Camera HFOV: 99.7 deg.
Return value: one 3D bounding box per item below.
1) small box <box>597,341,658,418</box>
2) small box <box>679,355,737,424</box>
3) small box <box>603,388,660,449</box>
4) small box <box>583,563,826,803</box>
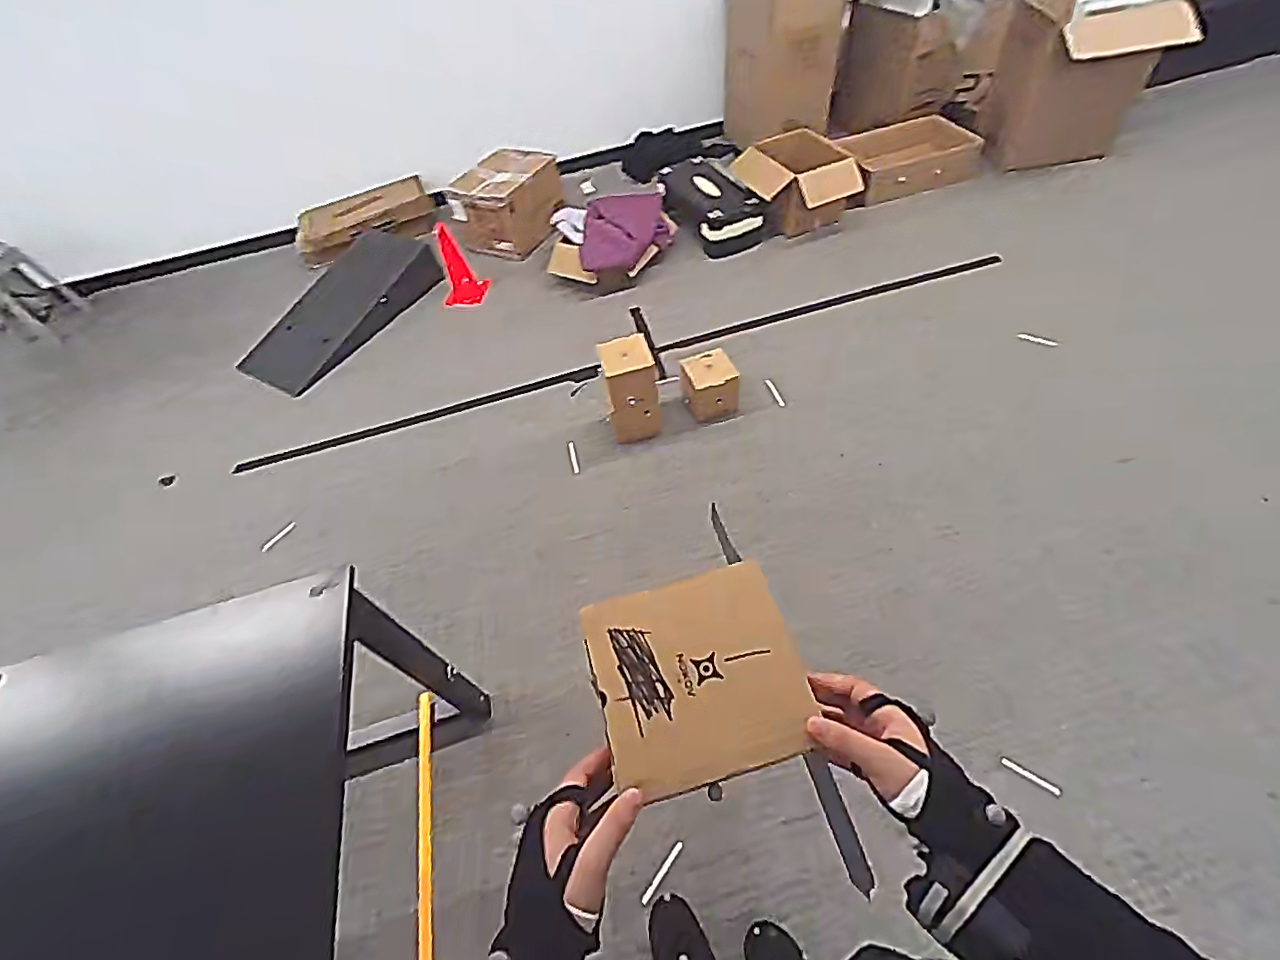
[{"bbox_3d":[-0.042,-0.346,1.868,0.168,0.176,0.179,-16,53,-2],"label":"small box"},{"bbox_3d":[0.255,-0.331,2.019,0.168,0.176,0.179,-18,53,-5],"label":"small box"},{"bbox_3d":[-0.028,-0.242,1.992,0.179,0.176,0.168,-15,51,-2],"label":"small box"},{"bbox_3d":[0.053,0.208,0.536,0.179,0.176,0.168,-14,59,-6],"label":"small box"}]
